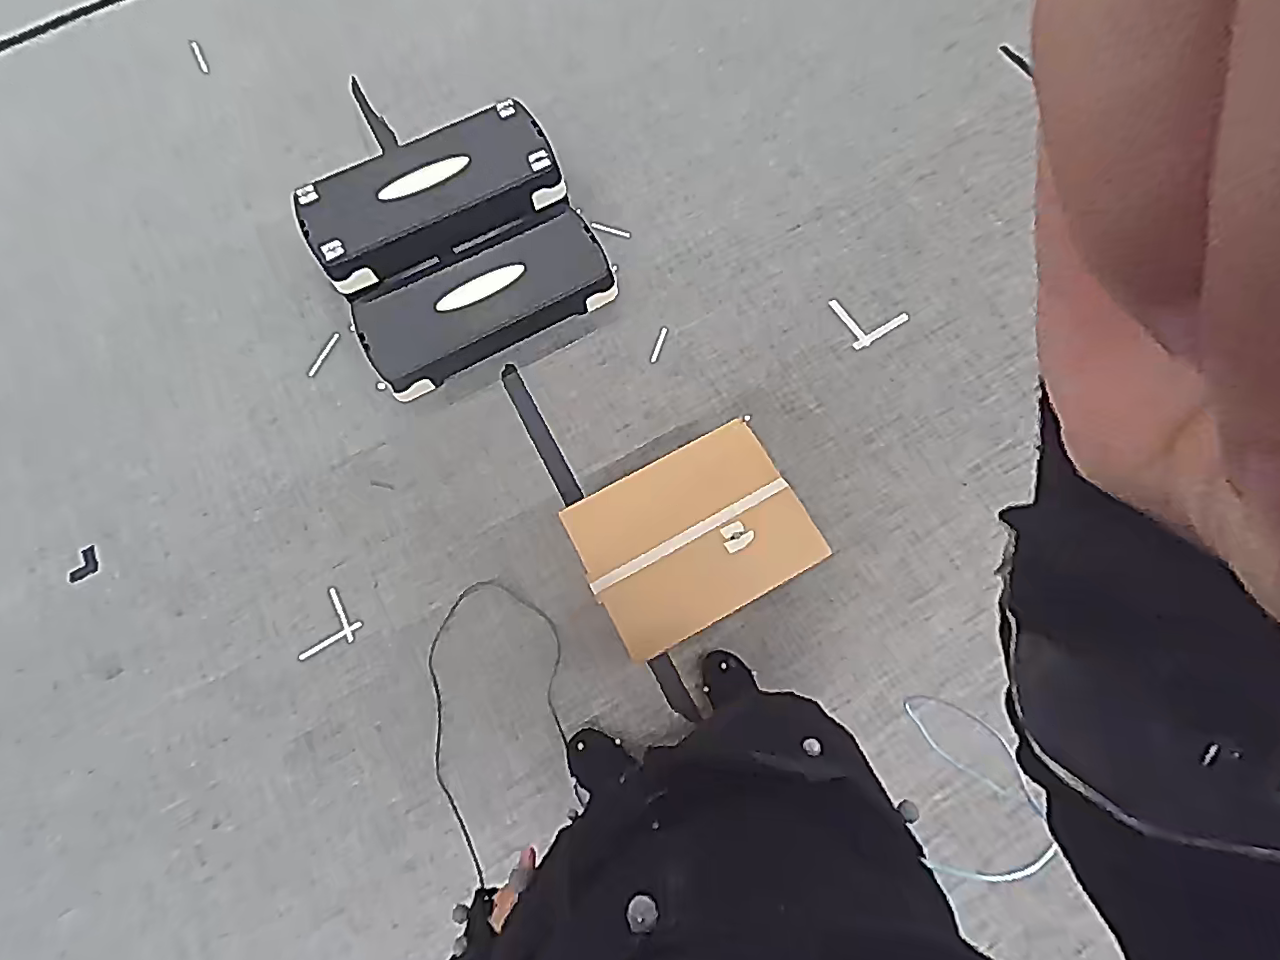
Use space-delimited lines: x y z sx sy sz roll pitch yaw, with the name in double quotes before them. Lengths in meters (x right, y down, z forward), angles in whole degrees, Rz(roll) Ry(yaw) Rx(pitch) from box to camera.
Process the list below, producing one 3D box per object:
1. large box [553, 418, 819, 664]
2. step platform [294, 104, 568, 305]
"large box" 0.084 0.143 1.127 0.408 0.320 0.320 -29 75 -7
"step platform" -0.554 -0.748 1.467 0.684 0.204 0.286 -23 74 -5
